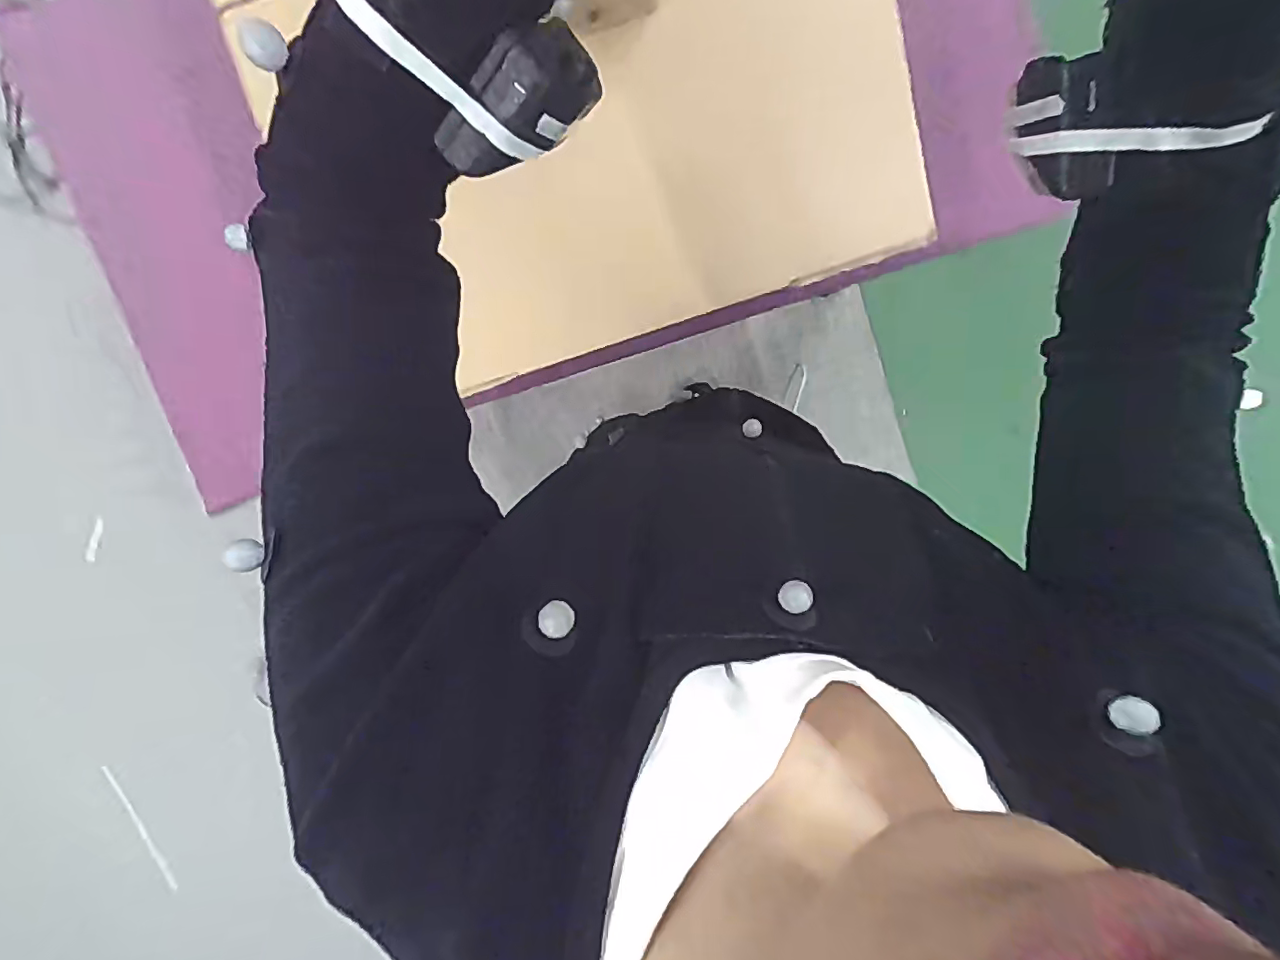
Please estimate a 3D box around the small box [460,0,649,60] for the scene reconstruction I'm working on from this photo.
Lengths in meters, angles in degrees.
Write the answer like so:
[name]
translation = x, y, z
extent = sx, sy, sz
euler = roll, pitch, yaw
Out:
[small box]
translation = -0.091, -0.482, 0.411
extent = 0.168, 0.176, 0.179
euler = -18, 96, 3
